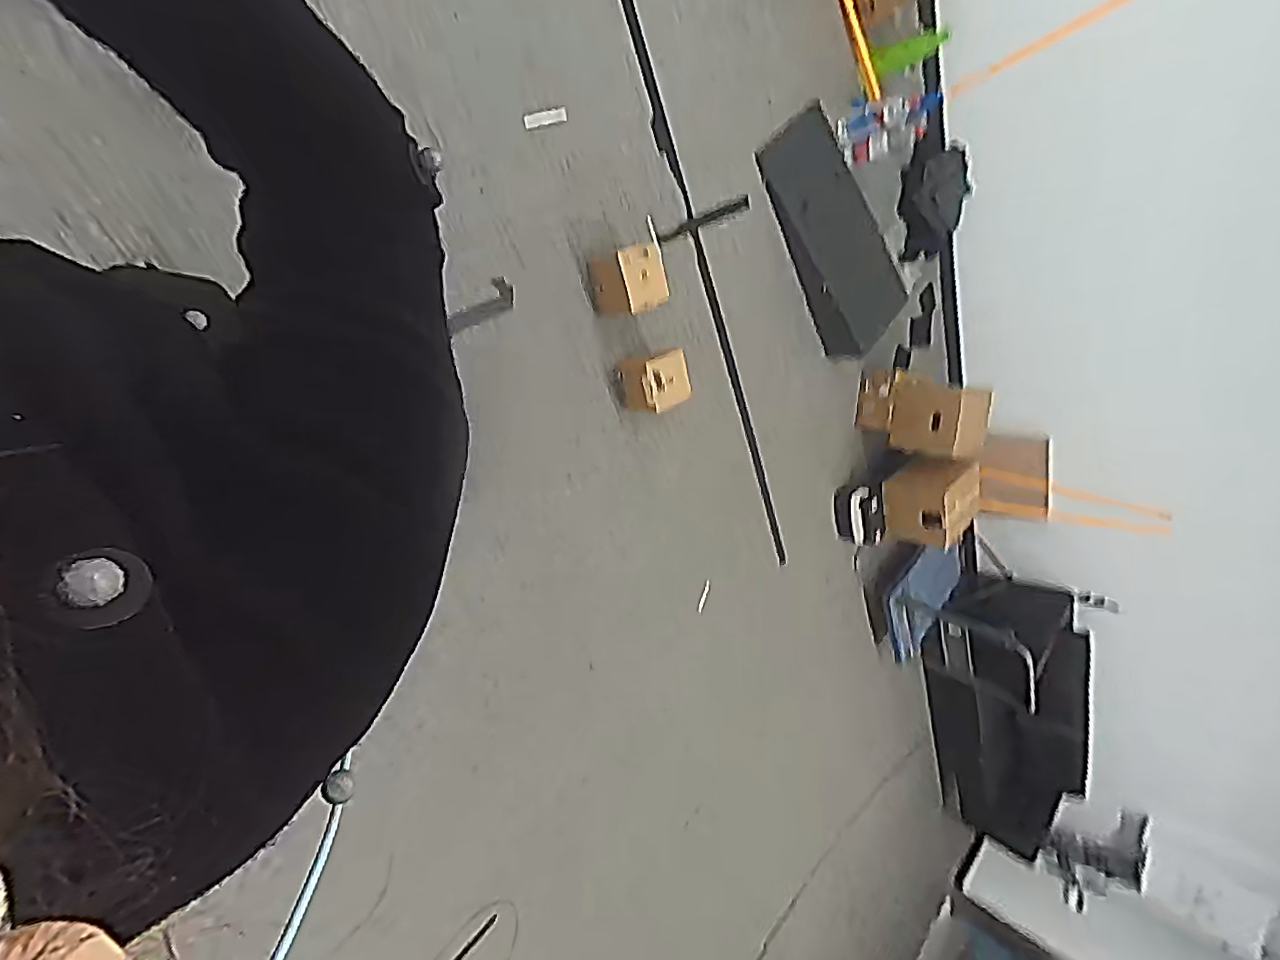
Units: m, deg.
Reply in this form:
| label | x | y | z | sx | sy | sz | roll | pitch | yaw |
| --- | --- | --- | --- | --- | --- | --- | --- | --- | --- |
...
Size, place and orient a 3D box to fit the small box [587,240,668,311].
| label | x | y | z | sx | sy | sz | roll | pitch | yaw |
| --- | --- | --- | --- | --- | --- | --- | --- | --- | --- |
| small box | -0.040 | -0.644 | 1.715 | 0.168 | 0.176 | 0.179 | -32 | 118 | -31 |

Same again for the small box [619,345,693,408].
| label | x | y | z | sx | sy | sz | roll | pitch | yaw |
| --- | --- | --- | --- | --- | --- | --- | --- | --- | --- |
| small box | 0.048 | -0.352 | 1.847 | 0.179 | 0.176 | 0.168 | -31 | 117 | -32 |
